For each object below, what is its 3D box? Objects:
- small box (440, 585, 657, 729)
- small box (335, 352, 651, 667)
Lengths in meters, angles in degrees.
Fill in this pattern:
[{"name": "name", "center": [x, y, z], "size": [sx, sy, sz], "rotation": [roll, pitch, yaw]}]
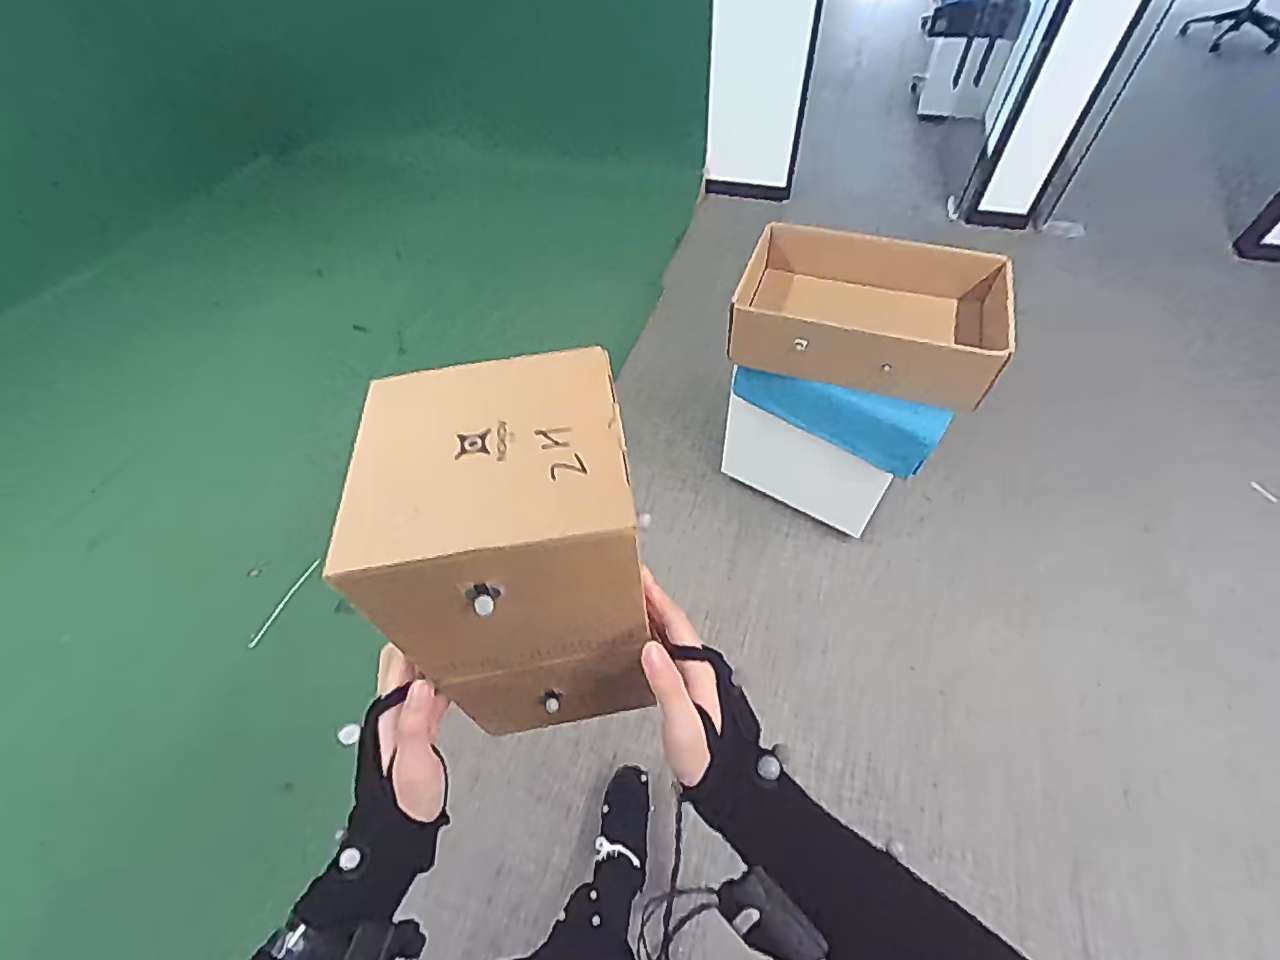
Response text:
[{"name": "small box", "center": [-0.081, 0.131, 0.543], "size": [0.179, 0.176, 0.168], "rotation": [-10, 51, -3]}, {"name": "small box", "center": [-0.091, 0.028, 0.416], "size": [0.179, 0.176, 0.168], "rotation": [-8, 51, -3]}]
